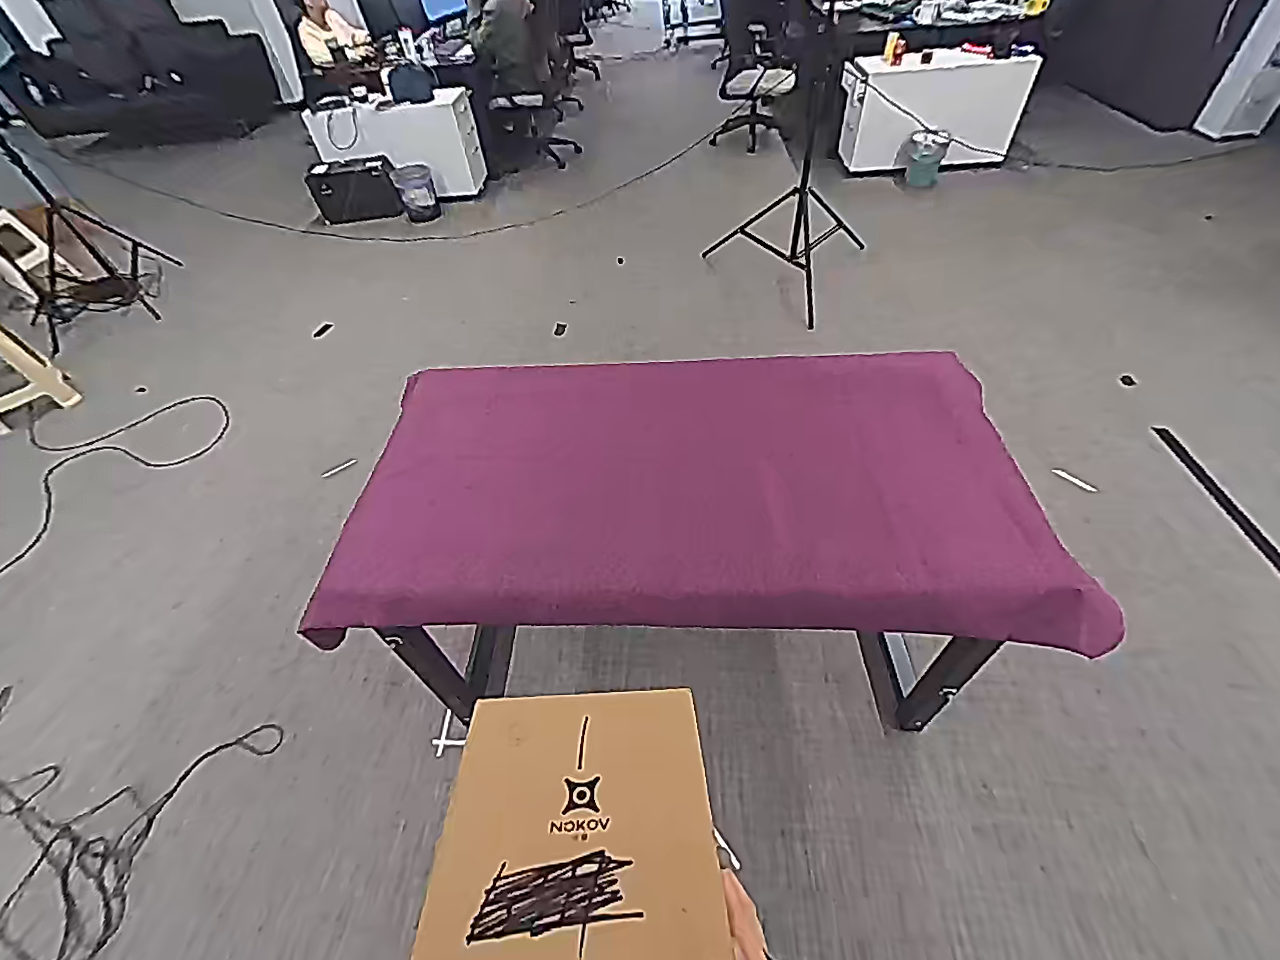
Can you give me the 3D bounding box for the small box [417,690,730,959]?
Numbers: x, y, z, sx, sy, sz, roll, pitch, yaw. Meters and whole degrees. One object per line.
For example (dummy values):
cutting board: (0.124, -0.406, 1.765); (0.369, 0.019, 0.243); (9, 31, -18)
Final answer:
small box: (-0.034, 0.278, 0.379); (0.168, 0.176, 0.179); (-2, 28, -2)
